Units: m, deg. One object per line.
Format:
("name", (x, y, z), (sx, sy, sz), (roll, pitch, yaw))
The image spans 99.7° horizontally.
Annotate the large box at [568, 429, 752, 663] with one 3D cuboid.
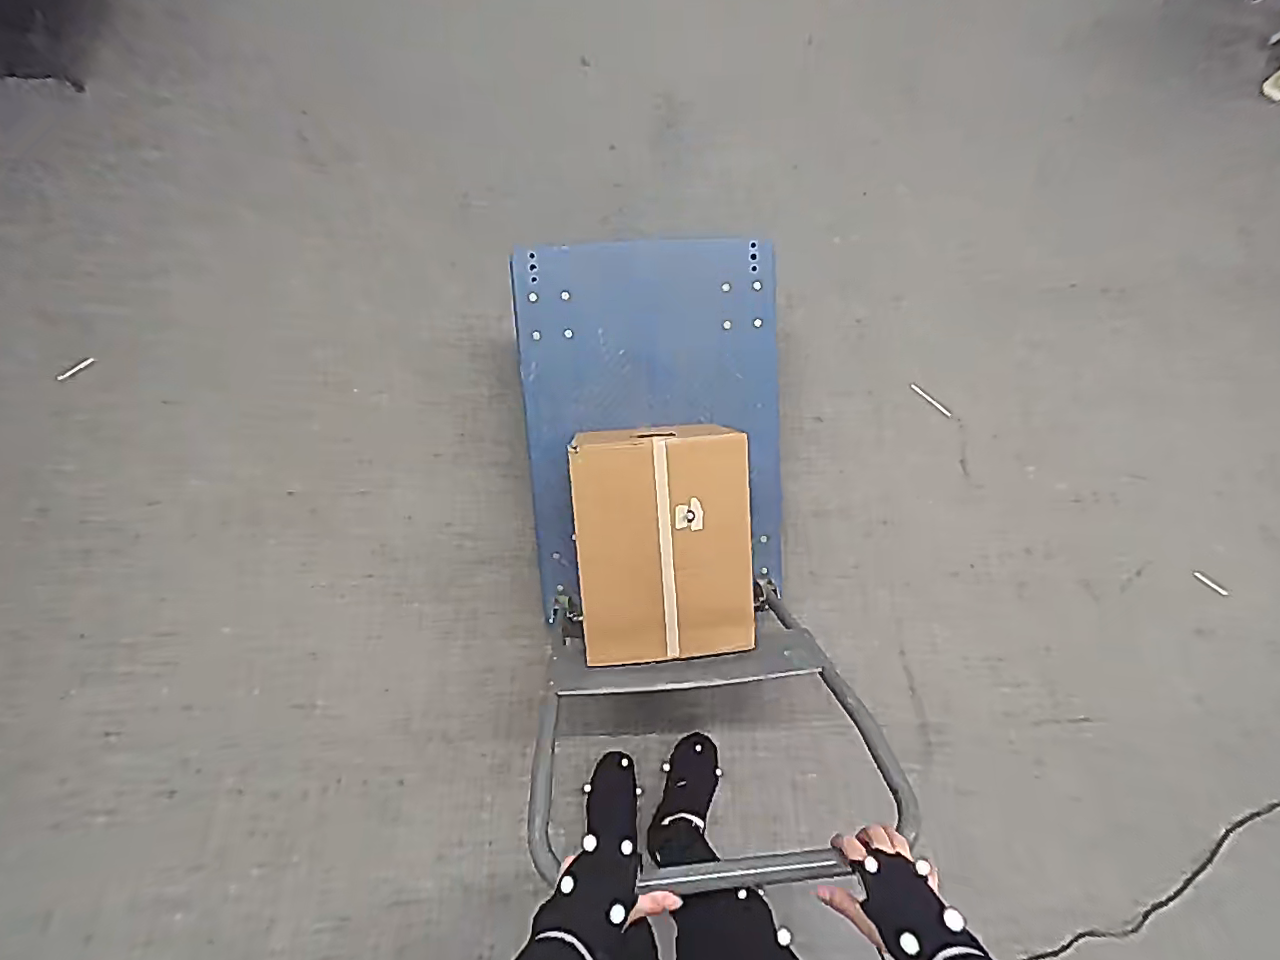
("large box", (0.032, 0.110, 1.117), (0.320, 0.320, 0.408), (-5, 98, -5))
